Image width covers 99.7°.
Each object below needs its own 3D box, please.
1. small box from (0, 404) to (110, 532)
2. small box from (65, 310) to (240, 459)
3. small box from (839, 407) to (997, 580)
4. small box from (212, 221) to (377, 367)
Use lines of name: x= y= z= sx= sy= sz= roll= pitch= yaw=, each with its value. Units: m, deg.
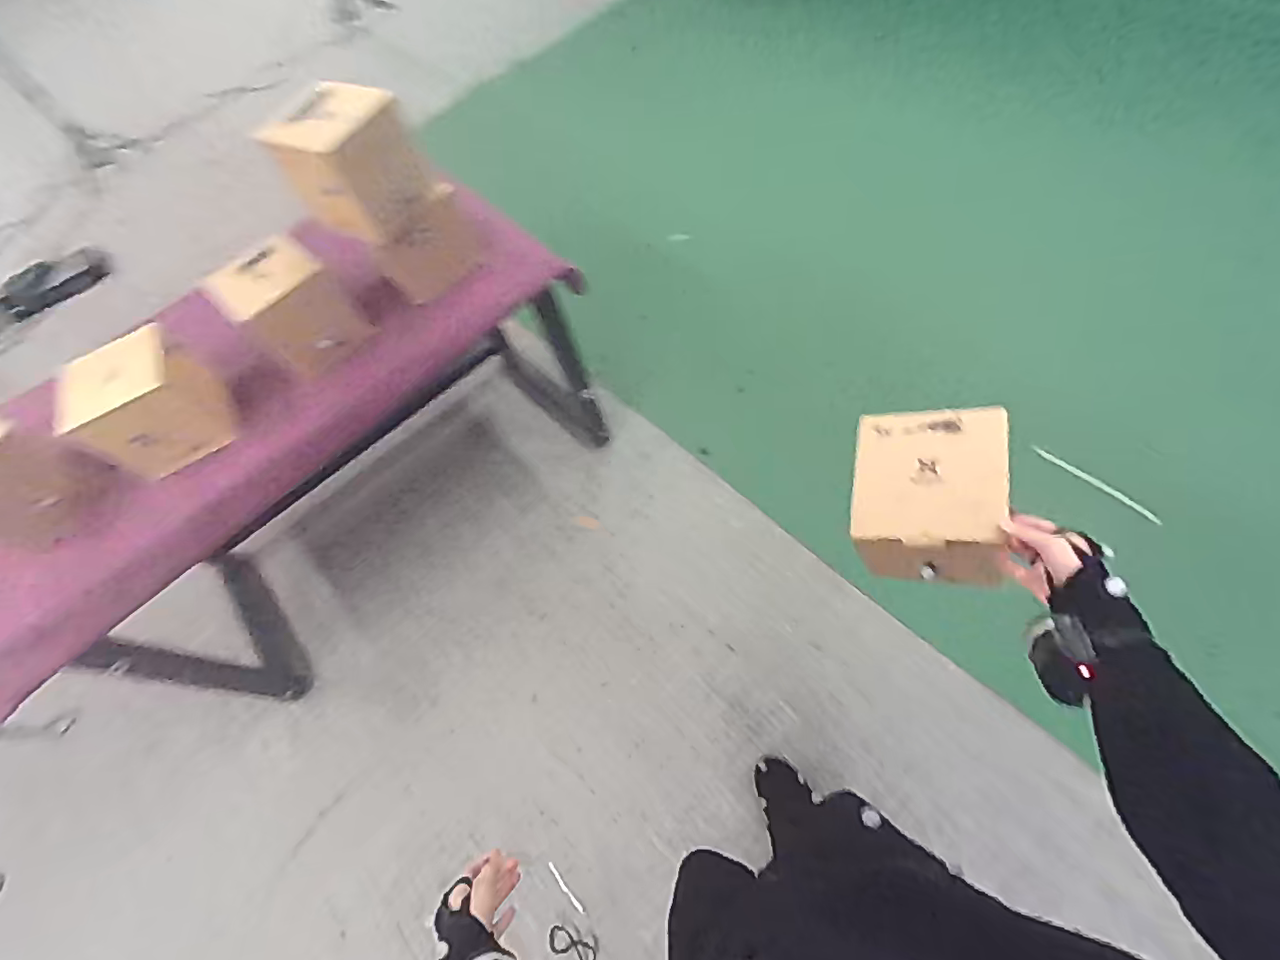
small box: x=-1.105 y=-0.029 z=0.935 sx=0.179 sy=0.176 sz=0.168 roll=16 pitch=66 yaw=17
small box: x=-0.862 y=-0.160 z=0.970 sx=0.168 sy=0.176 sz=0.179 roll=-30 pitch=61 yaw=-6
small box: x=0.374 y=0.024 z=0.718 sx=0.168 sy=0.176 sz=0.179 roll=0 pitch=65 yaw=33
small box: x=-0.651 y=-0.350 z=1.035 sx=0.179 sy=0.176 sz=0.168 roll=39 pitch=75 yaw=25
